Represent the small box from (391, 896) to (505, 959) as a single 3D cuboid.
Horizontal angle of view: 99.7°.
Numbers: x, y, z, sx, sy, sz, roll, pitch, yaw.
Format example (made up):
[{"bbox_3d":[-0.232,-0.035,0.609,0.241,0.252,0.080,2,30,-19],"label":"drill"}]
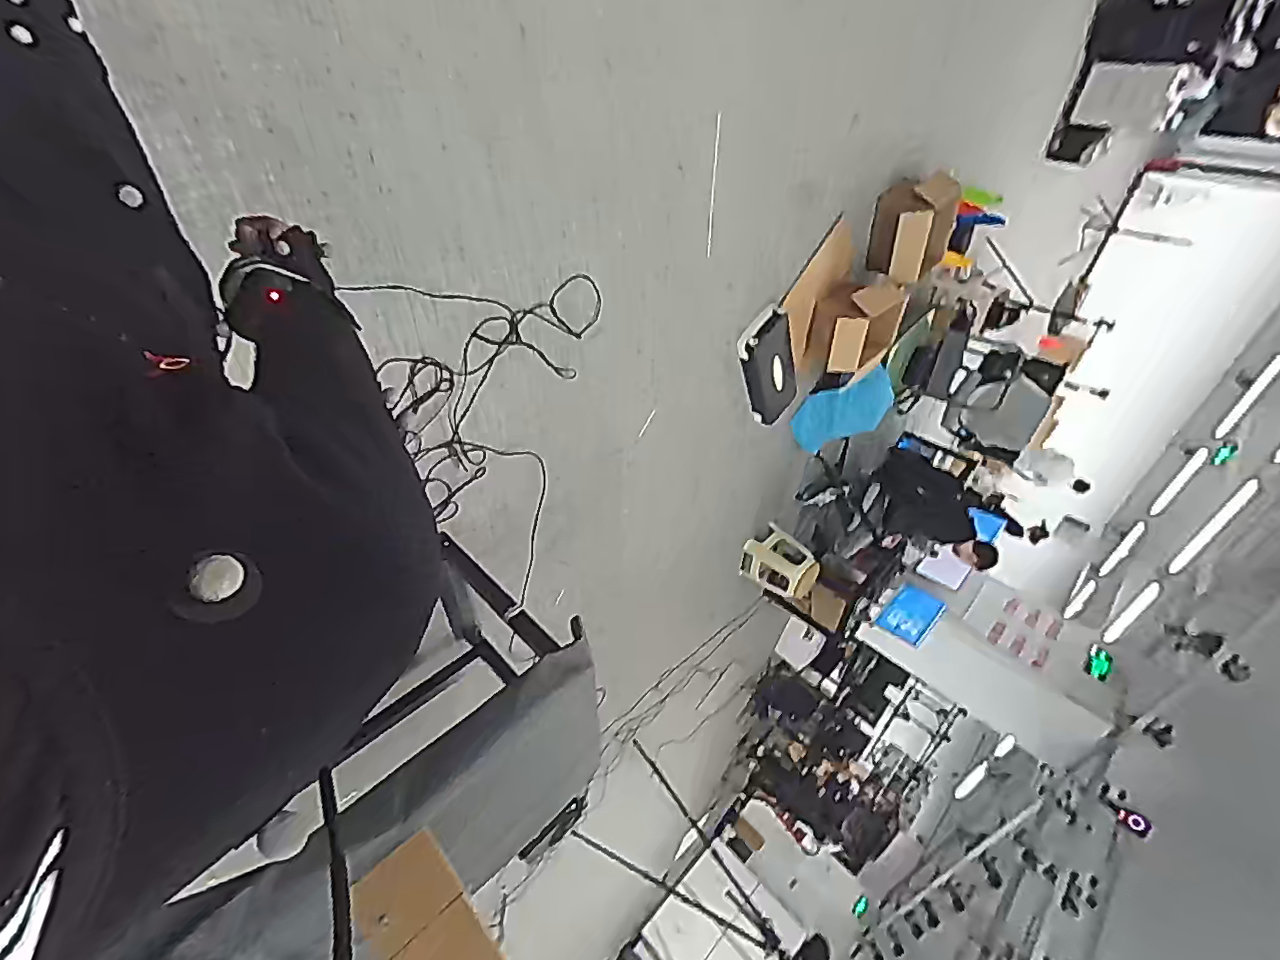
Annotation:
[{"bbox_3d":[-0.366,0.962,1.046,0.179,0.176,0.168,-30,139,-34],"label":"small box"}]
